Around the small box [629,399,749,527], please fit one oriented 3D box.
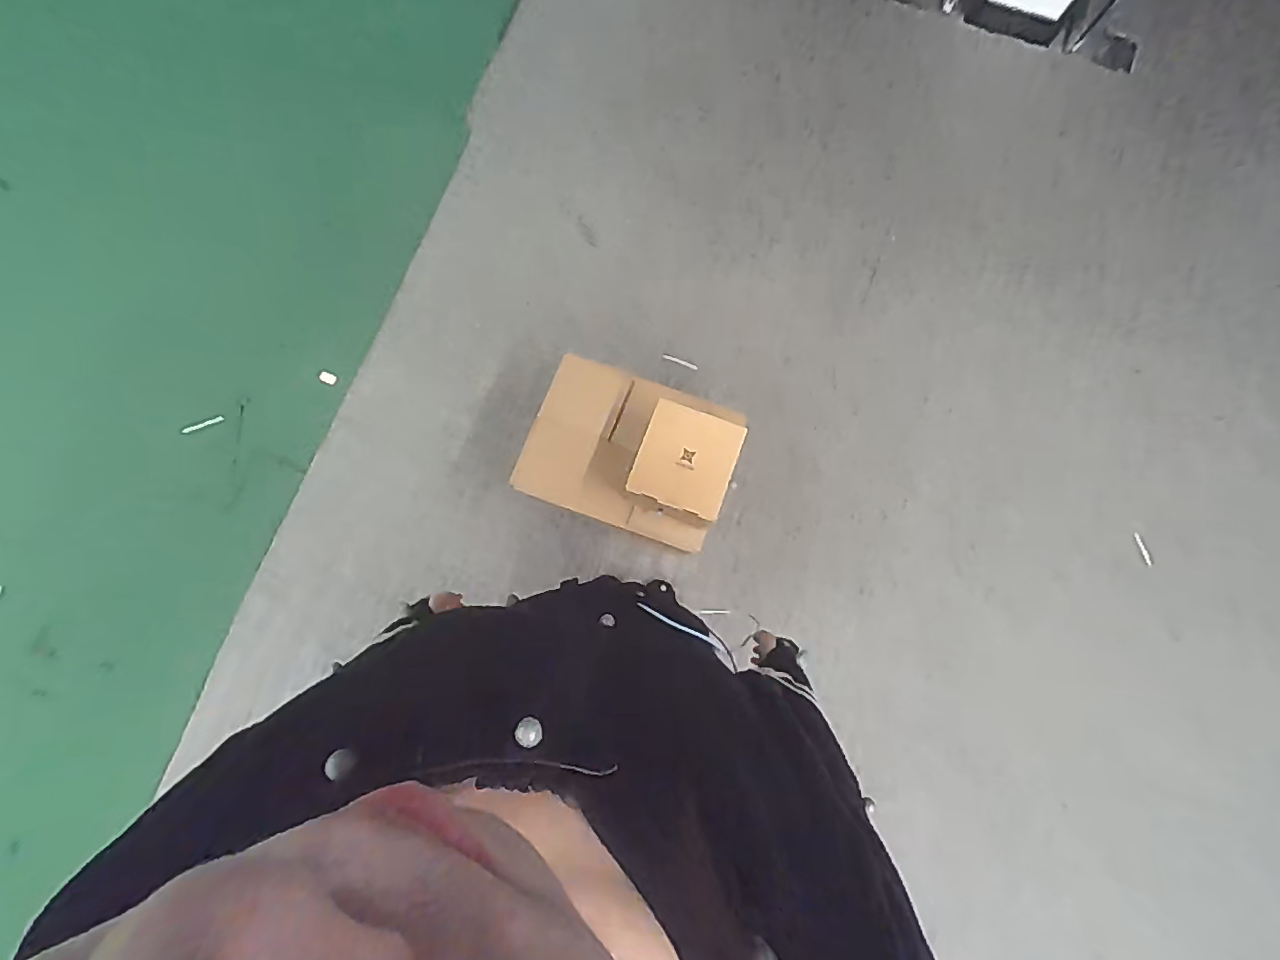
[{"bbox_3d":[0.084,-0.023,1.006,0.168,0.176,0.179,20,82,4],"label":"small box"}]
